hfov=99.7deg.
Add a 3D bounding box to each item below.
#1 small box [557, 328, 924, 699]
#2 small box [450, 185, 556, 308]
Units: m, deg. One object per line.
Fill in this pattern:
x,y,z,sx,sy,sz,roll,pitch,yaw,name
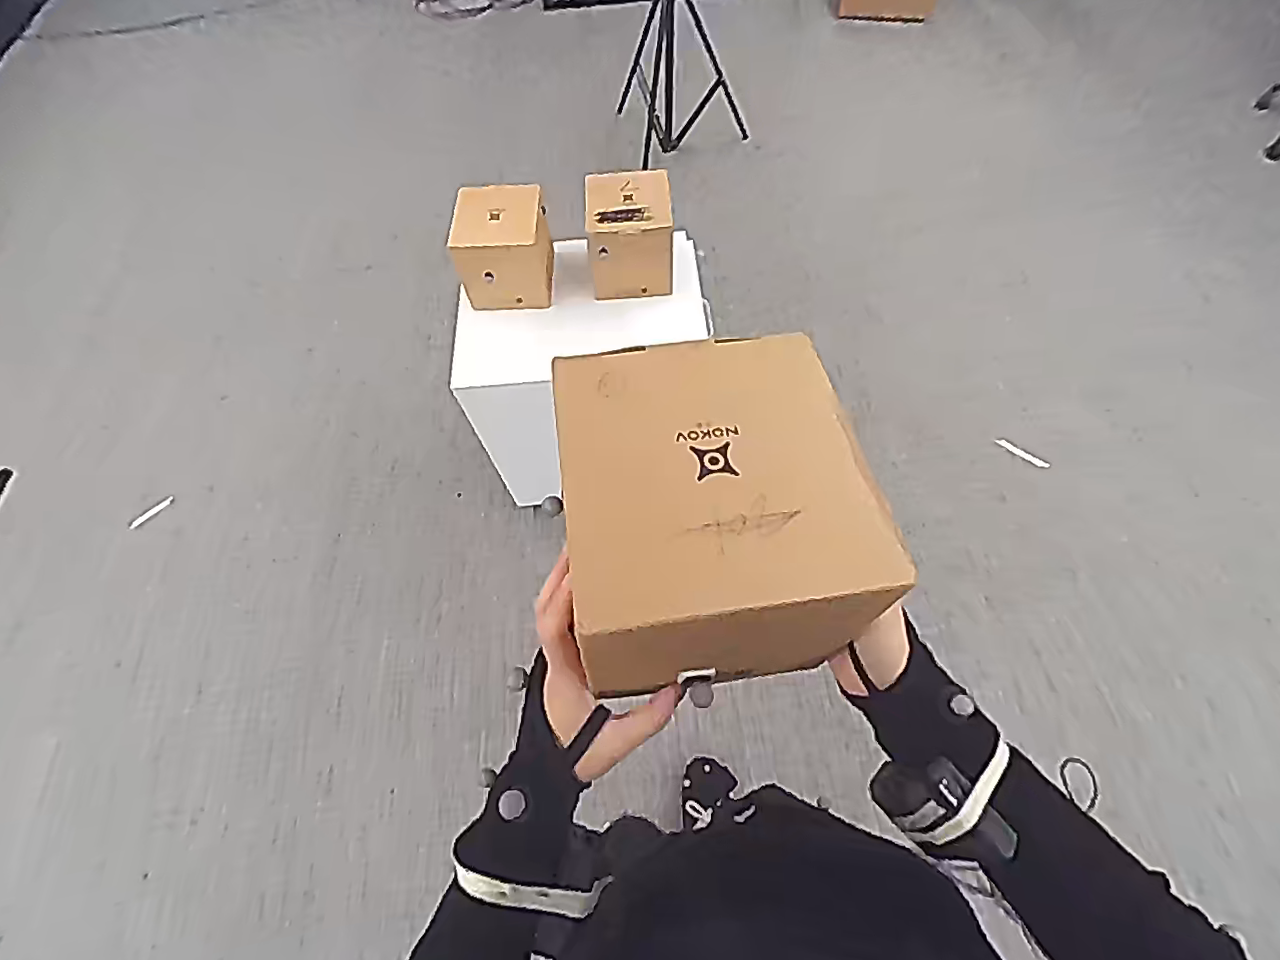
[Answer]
0.040,0.028,0.359,0.168,0.176,0.179,-8,59,-5,small box
-0.270,-0.470,1.108,0.168,0.176,0.179,-2,63,1,small box
